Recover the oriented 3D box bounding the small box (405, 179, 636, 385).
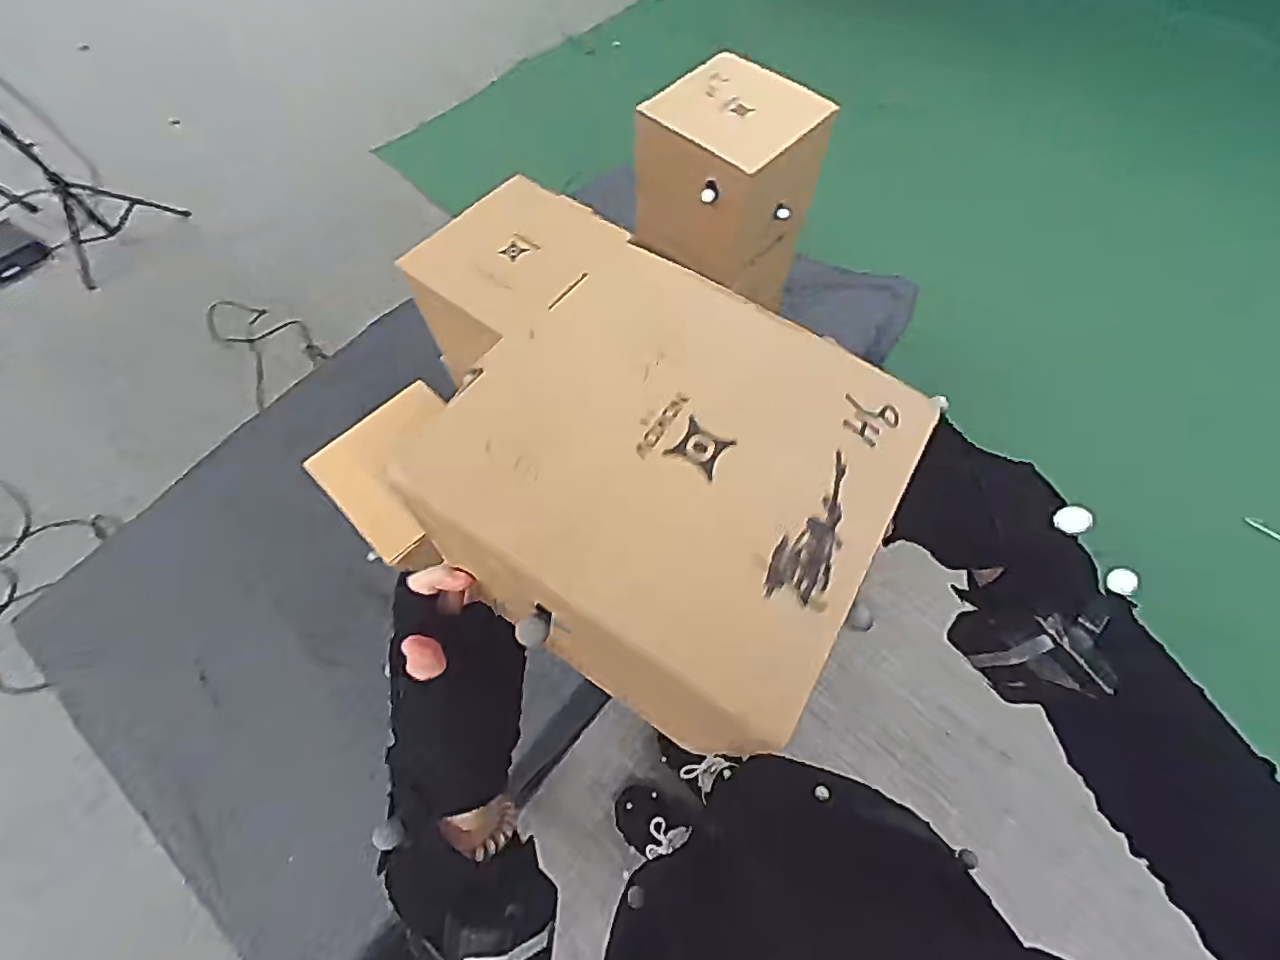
[{"bbox_3d":[-0.118,-0.190,0.610,0.168,0.176,0.179,36,70,18],"label":"small box"}]

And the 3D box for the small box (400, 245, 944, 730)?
[{"bbox_3d":[0.014,0.018,0.297,0.179,0.176,0.168,33,67,12],"label":"small box"}]

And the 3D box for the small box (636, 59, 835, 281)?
[{"bbox_3d":[0.113,-0.391,0.705,0.179,0.176,0.168,40,71,19],"label":"small box"}]
